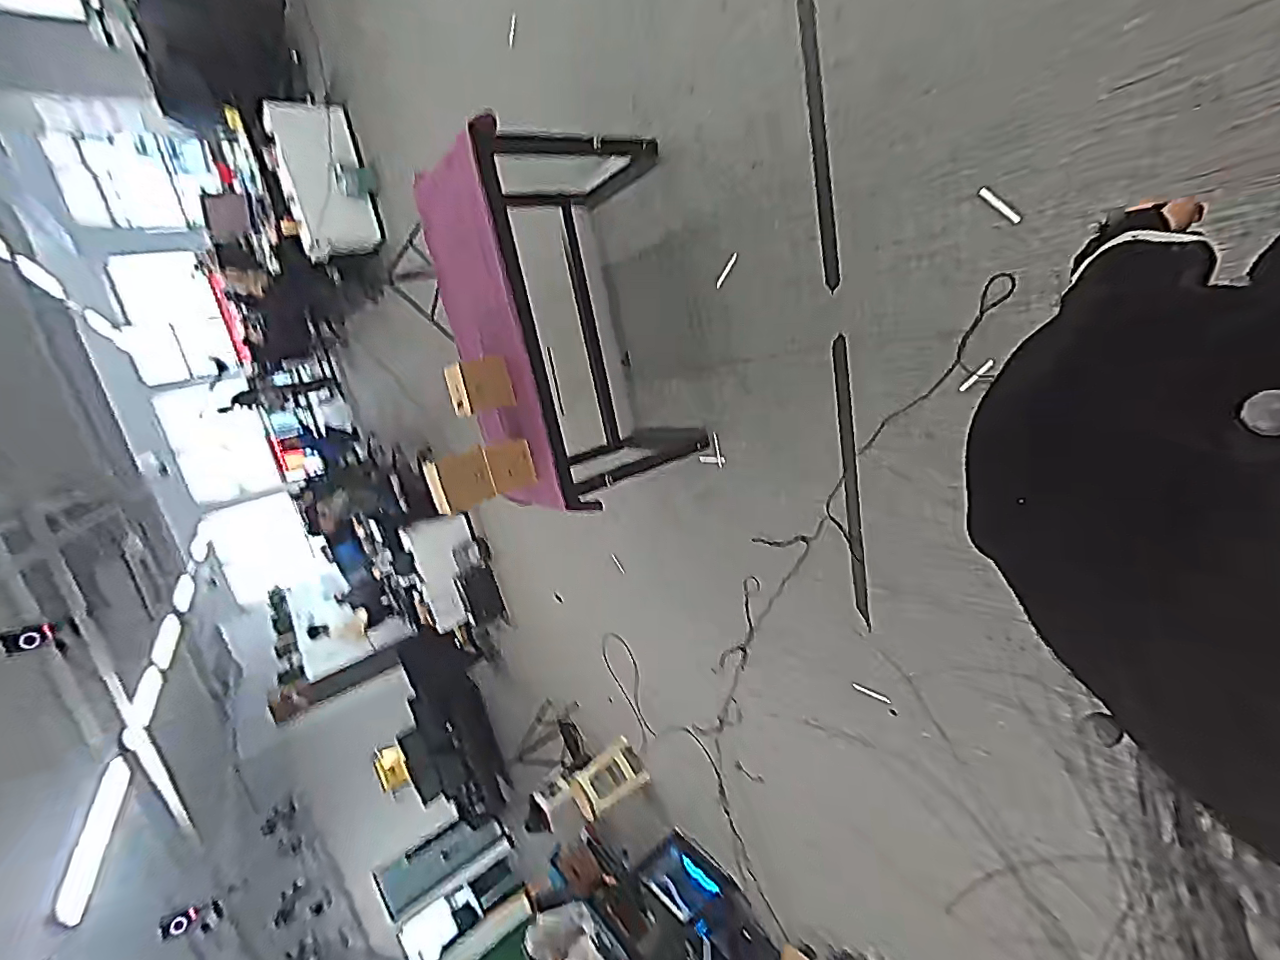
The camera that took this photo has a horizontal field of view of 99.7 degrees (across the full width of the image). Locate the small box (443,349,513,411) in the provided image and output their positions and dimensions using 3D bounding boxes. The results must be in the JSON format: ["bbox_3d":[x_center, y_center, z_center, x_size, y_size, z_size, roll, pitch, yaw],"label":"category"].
[{"bbox_3d":[-0.564,-0.350,1.900,0.168,0.176,0.179,5,111,54],"label":"small box"}]

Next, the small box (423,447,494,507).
[{"bbox_3d":[-0.633,-0.016,1.887,0.168,0.176,0.179,0,107,56],"label":"small box"}]

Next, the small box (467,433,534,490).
[{"bbox_3d":[-0.502,-0.071,1.969,0.179,0.176,0.168,3,111,55],"label":"small box"}]
